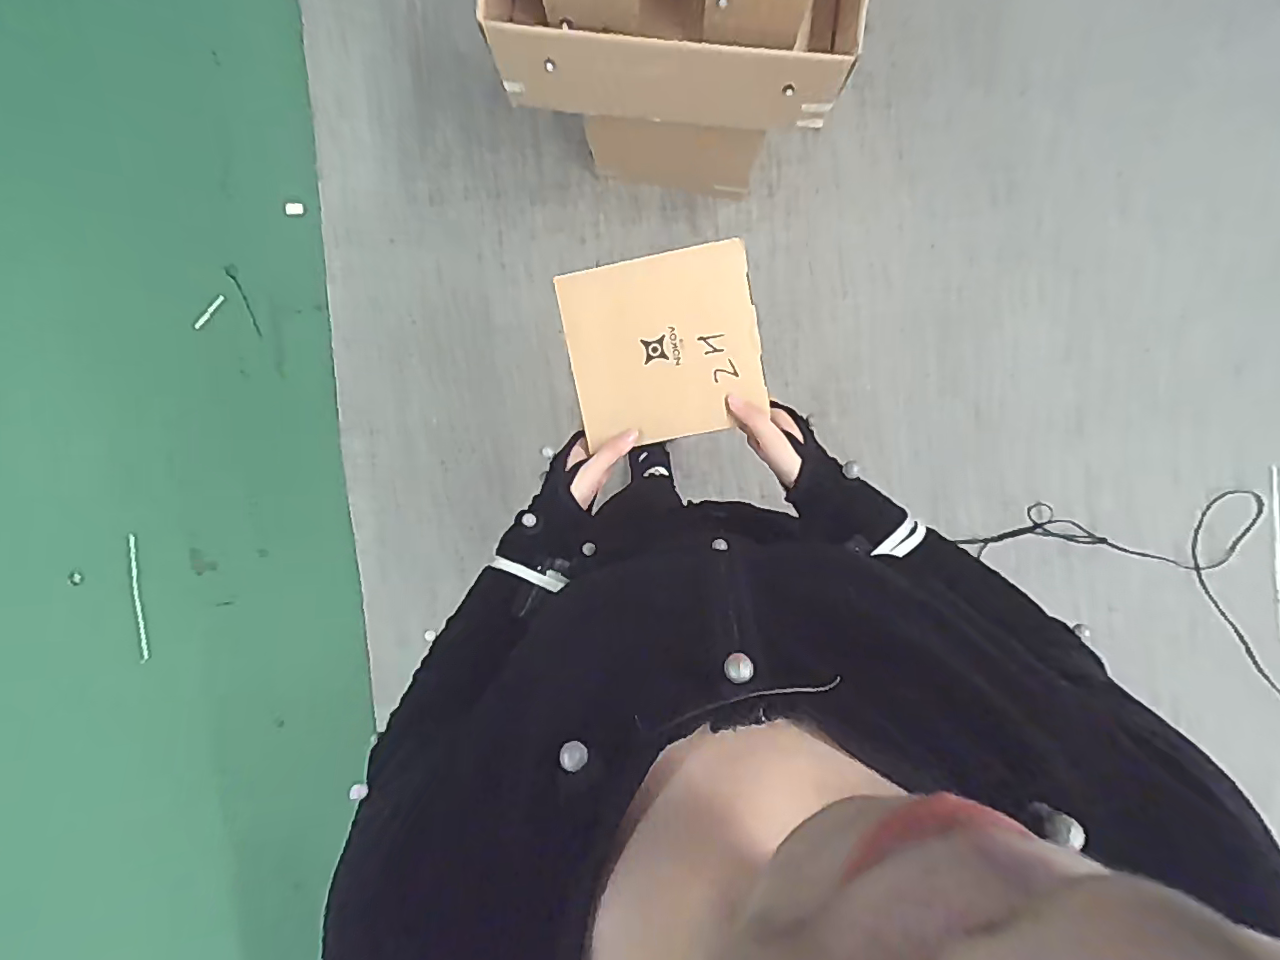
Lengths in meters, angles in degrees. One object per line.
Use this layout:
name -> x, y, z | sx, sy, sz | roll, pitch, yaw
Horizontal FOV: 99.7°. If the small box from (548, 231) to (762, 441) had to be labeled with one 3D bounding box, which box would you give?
small box -> 0.019, -0.139, 0.573 | 0.179, 0.176, 0.168 | -10, 98, 4
